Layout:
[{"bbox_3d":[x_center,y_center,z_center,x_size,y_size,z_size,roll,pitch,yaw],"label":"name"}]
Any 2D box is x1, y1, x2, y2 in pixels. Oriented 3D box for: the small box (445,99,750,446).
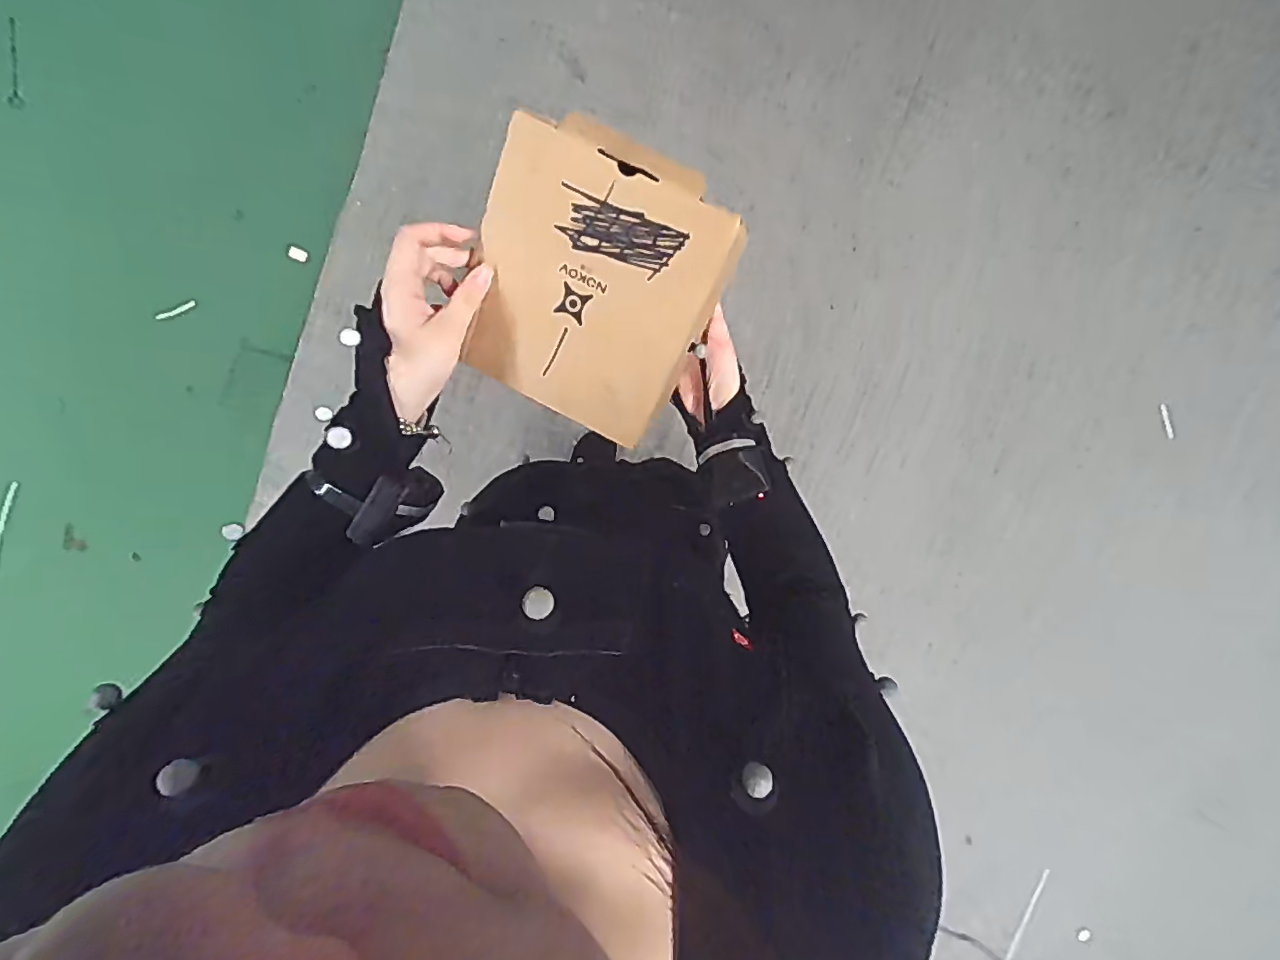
[{"bbox_3d":[-0.024,-0.159,0.443,0.168,0.176,0.179,27,113,1],"label":"small box"}]
